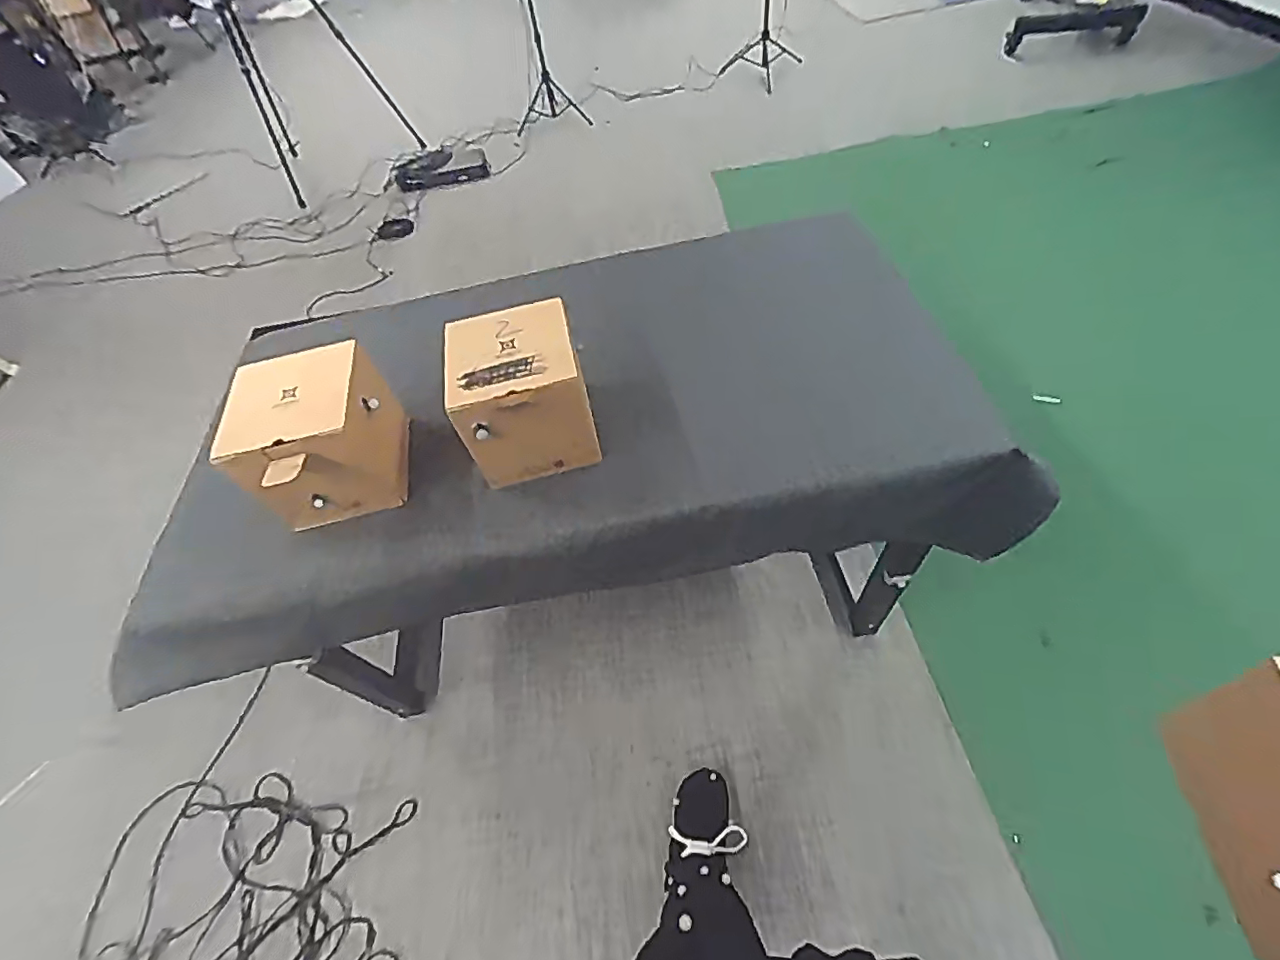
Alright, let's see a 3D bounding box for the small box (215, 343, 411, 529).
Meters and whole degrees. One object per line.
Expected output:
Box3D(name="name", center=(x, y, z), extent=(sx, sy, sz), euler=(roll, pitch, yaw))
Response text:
Box3D(name="small box", center=(-0.439, -0.059, 0.761), extent=(0.168, 0.176, 0.179), euler=(-14, 54, -3))
